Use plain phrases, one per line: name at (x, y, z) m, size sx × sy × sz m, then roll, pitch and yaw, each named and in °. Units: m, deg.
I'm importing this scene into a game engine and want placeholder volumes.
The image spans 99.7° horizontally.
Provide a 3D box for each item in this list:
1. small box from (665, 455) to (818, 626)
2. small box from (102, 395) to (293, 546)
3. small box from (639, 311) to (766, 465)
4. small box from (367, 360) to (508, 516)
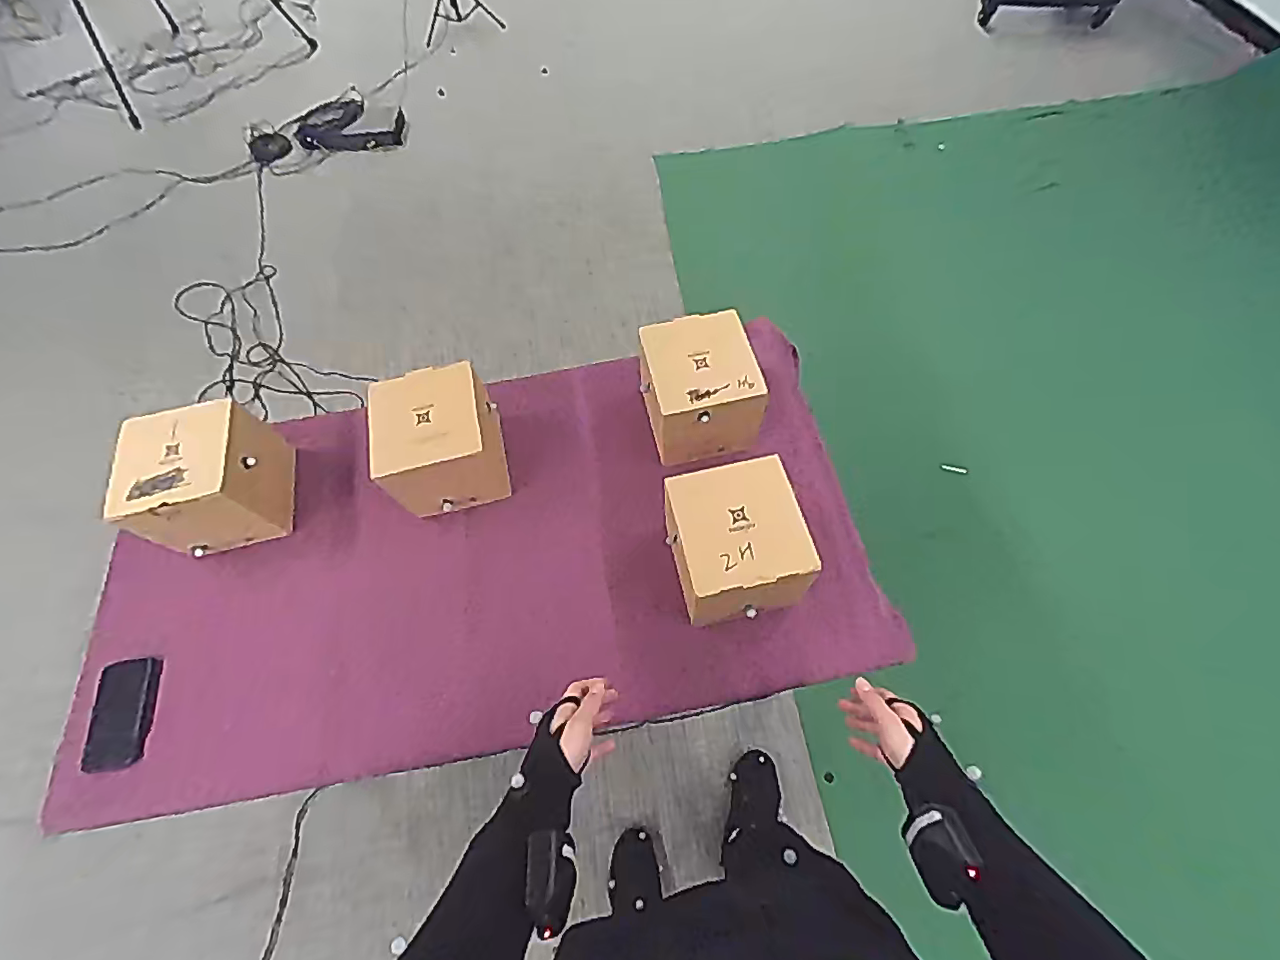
small box at (0.132, 0.092, 0.780) m, size 0.168 × 0.176 × 0.179 m, roll -12°, pitch 60°, yaw -2°
small box at (-0.691, -0.006, 0.870) m, size 0.168 × 0.176 × 0.179 m, roll -13°, pitch 63°, yaw -5°
small box at (0.096, -0.150, 0.909) m, size 0.168 × 0.176 × 0.179 m, roll -12°, pitch 63°, yaw -3°
small box at (-0.325, -0.063, 0.886) m, size 0.168 × 0.176 × 0.179 m, roll -13°, pitch 64°, yaw -3°
